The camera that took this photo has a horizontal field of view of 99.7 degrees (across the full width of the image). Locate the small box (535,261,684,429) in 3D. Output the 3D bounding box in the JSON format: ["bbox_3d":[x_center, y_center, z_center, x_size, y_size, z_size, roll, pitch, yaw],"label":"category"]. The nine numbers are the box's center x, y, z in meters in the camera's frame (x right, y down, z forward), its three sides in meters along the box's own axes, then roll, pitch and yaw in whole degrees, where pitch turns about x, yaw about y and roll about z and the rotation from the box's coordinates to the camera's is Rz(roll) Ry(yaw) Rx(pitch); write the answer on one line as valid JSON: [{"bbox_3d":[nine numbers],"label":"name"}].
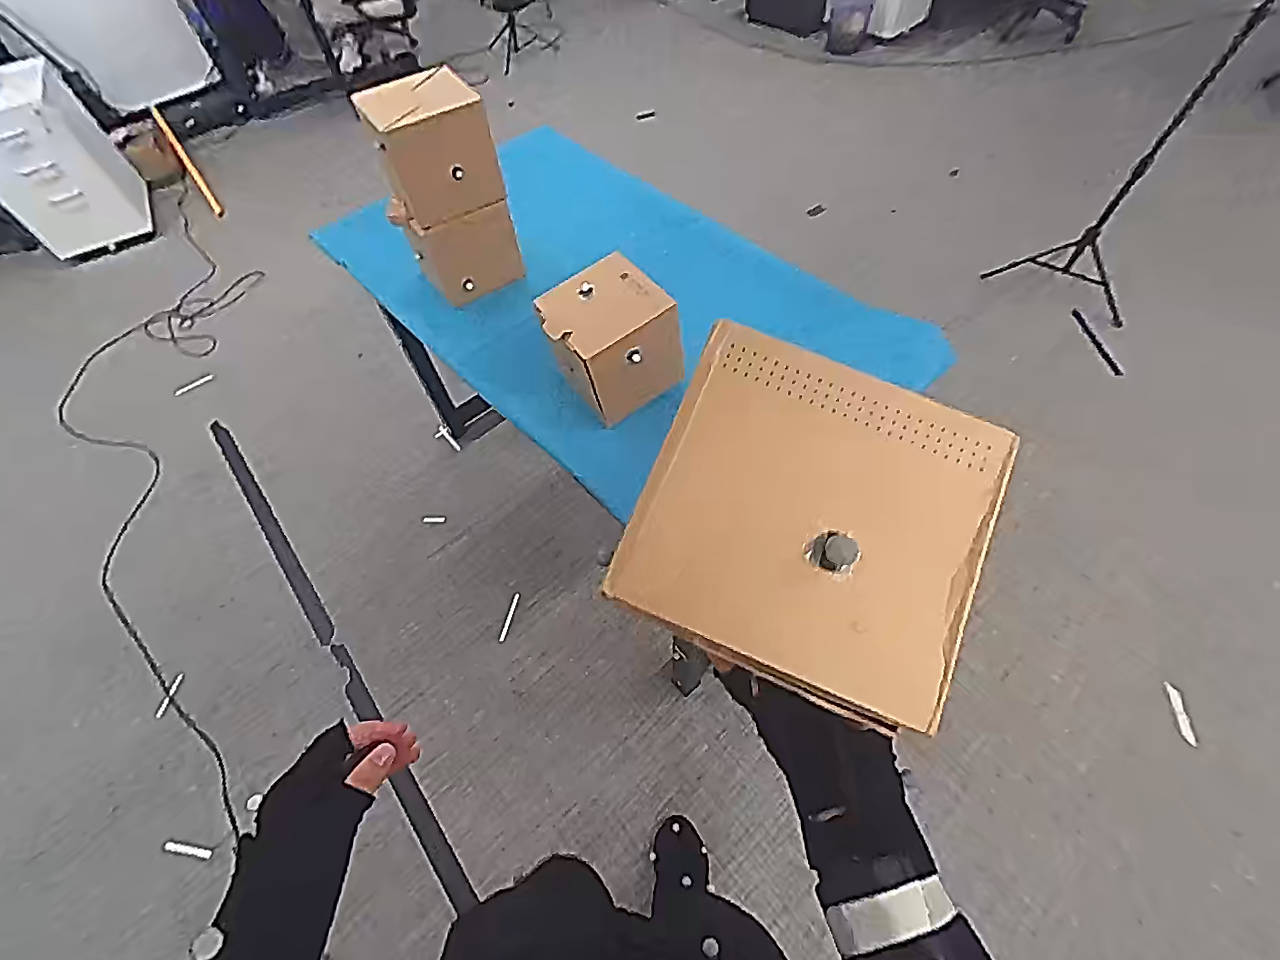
[{"bbox_3d":[-0.042,-0.225,0.898,0.176,0.179,0.168,-34,62,-9],"label":"small box"}]

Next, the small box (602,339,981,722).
[{"bbox_3d":[0.088,0.032,0.365,0.179,0.168,0.176,22,77,4],"label":"small box"}]

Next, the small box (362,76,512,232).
[{"bbox_3d":[-0.361,-0.588,0.969,0.179,0.176,0.168,-30,61,-14],"label":"small box"}]

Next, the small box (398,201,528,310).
[{"bbox_3d":[-0.358,-0.487,1.100,0.179,0.176,0.168,-33,62,-17],"label":"small box"}]
